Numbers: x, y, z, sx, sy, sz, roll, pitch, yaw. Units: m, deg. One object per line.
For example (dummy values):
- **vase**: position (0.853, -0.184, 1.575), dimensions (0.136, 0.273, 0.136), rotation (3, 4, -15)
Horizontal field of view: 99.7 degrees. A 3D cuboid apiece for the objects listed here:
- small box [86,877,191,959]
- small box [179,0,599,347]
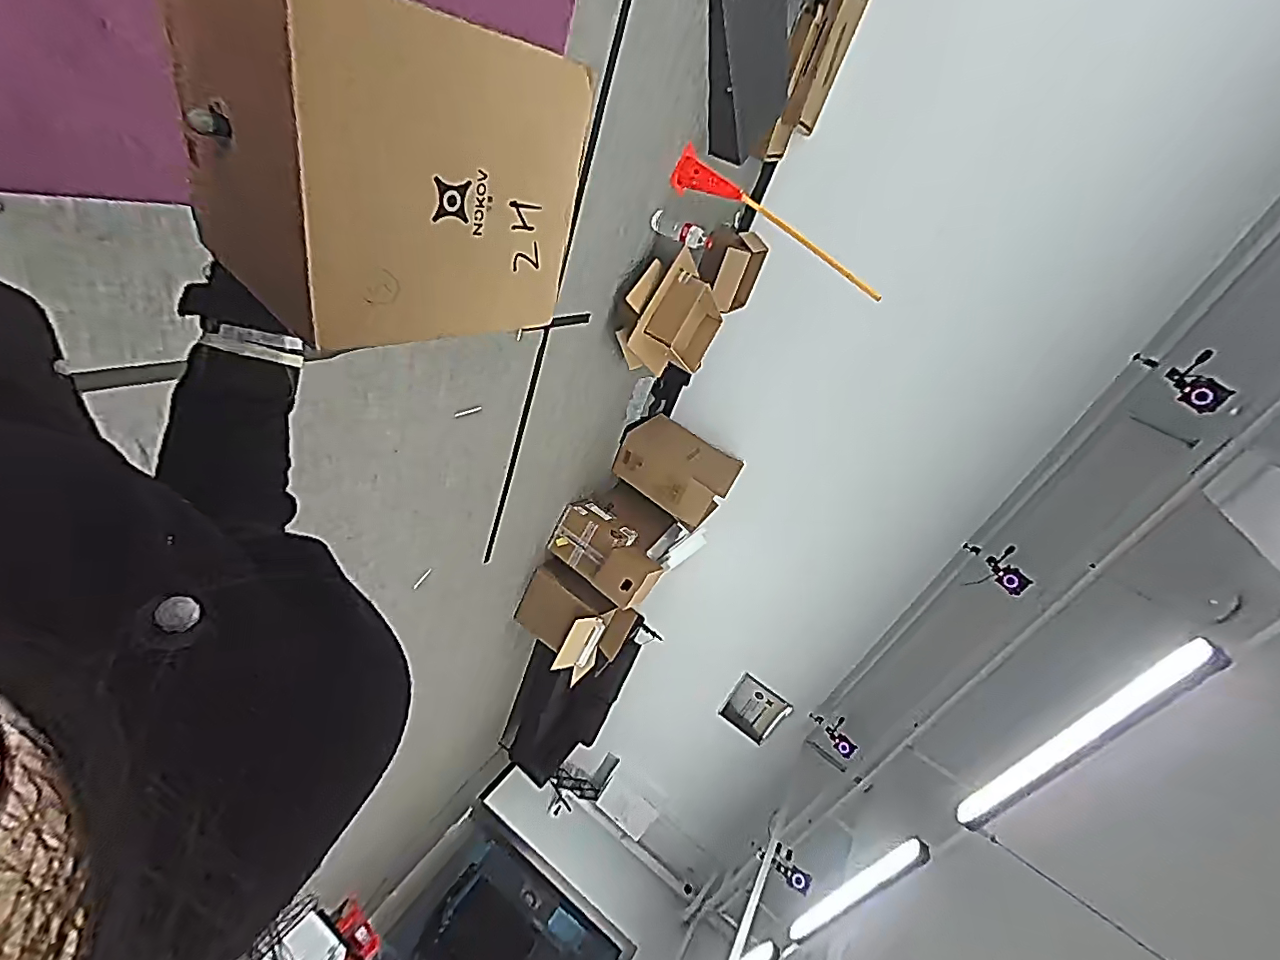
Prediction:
- **small box**: position (-1.400, 1.266, 1.512), dimensions (0.168, 0.176, 0.179), rotation (-30, 148, -58)
- **small box**: position (-0.159, -0.205, 0.350), dimensions (0.179, 0.176, 0.168), rotation (-25, 144, -46)
